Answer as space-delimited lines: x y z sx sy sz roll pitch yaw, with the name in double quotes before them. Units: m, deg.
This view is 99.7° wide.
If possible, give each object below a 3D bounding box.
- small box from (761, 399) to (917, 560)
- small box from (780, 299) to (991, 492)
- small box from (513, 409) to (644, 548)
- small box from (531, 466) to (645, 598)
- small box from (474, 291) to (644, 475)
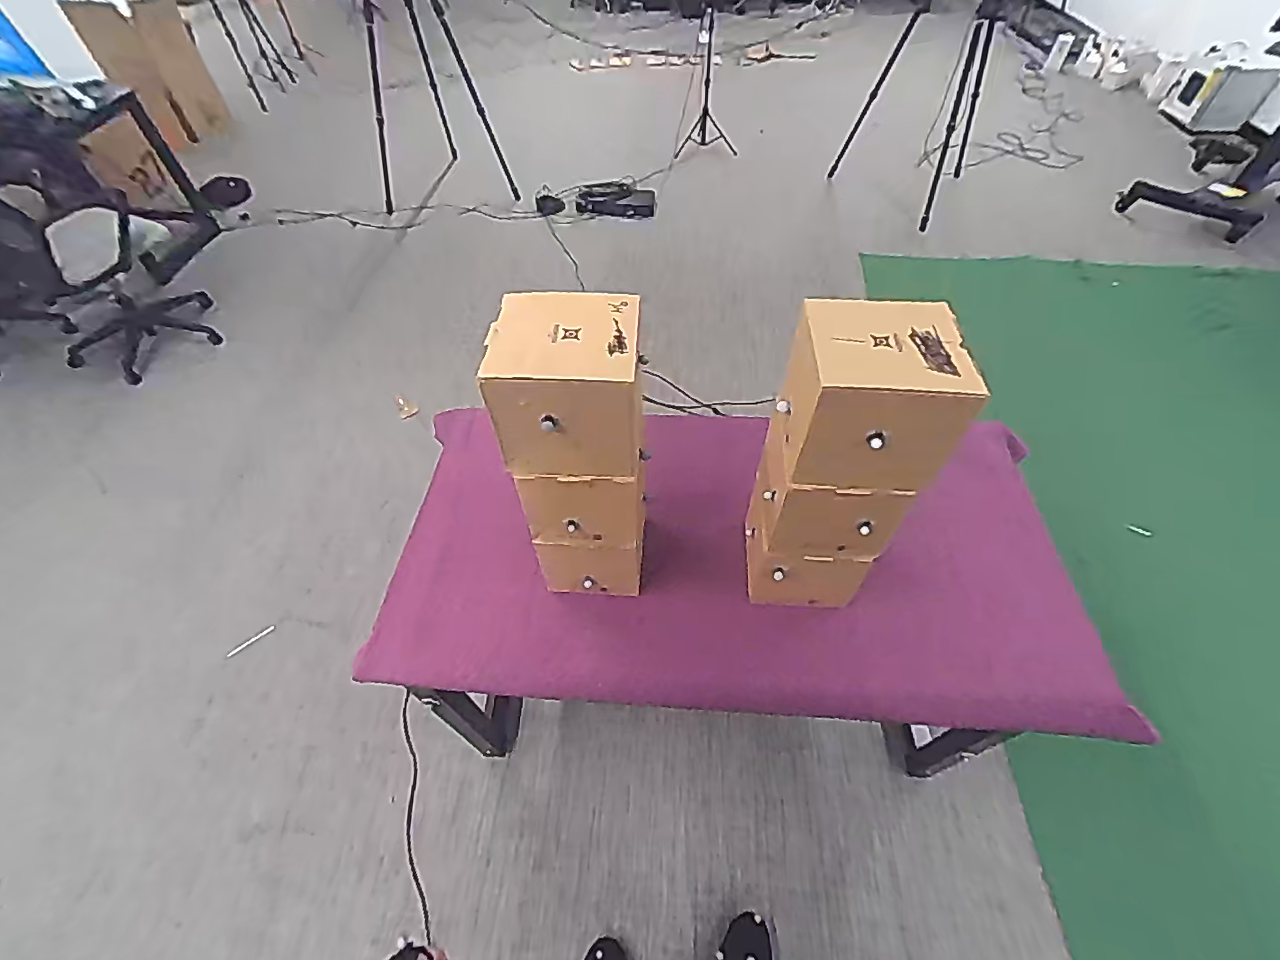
"small box" 0.276 0.003 0.796 0.168 0.176 0.179 3 51 3
"small box" 0.282 -0.100 0.668 0.179 0.176 0.168 3 51 4
"small box" -0.082 -0.018 0.818 0.168 0.176 0.179 2 52 2
"small box" -0.081 0.085 0.943 0.168 0.176 0.179 3 52 4
"small box" -0.087 -0.120 0.690 0.179 0.176 0.168 2 52 2
